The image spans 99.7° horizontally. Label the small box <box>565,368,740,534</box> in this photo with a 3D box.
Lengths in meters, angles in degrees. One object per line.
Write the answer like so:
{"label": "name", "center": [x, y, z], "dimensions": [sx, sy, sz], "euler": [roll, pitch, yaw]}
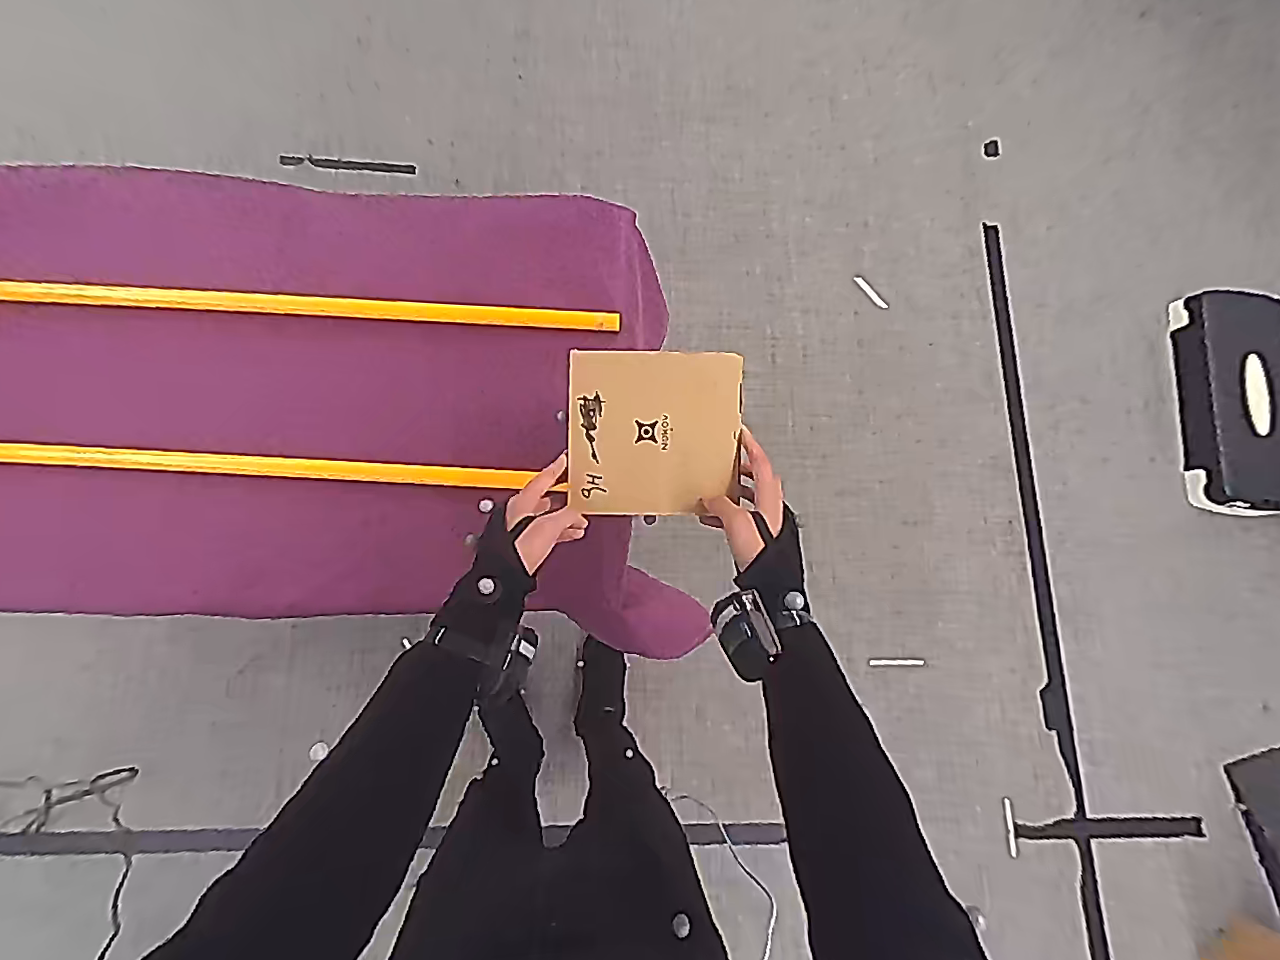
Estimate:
{"label": "small box", "center": [0.011, -0.030, 0.630], "dimensions": [0.179, 0.176, 0.168], "euler": [1, 90, -1]}
